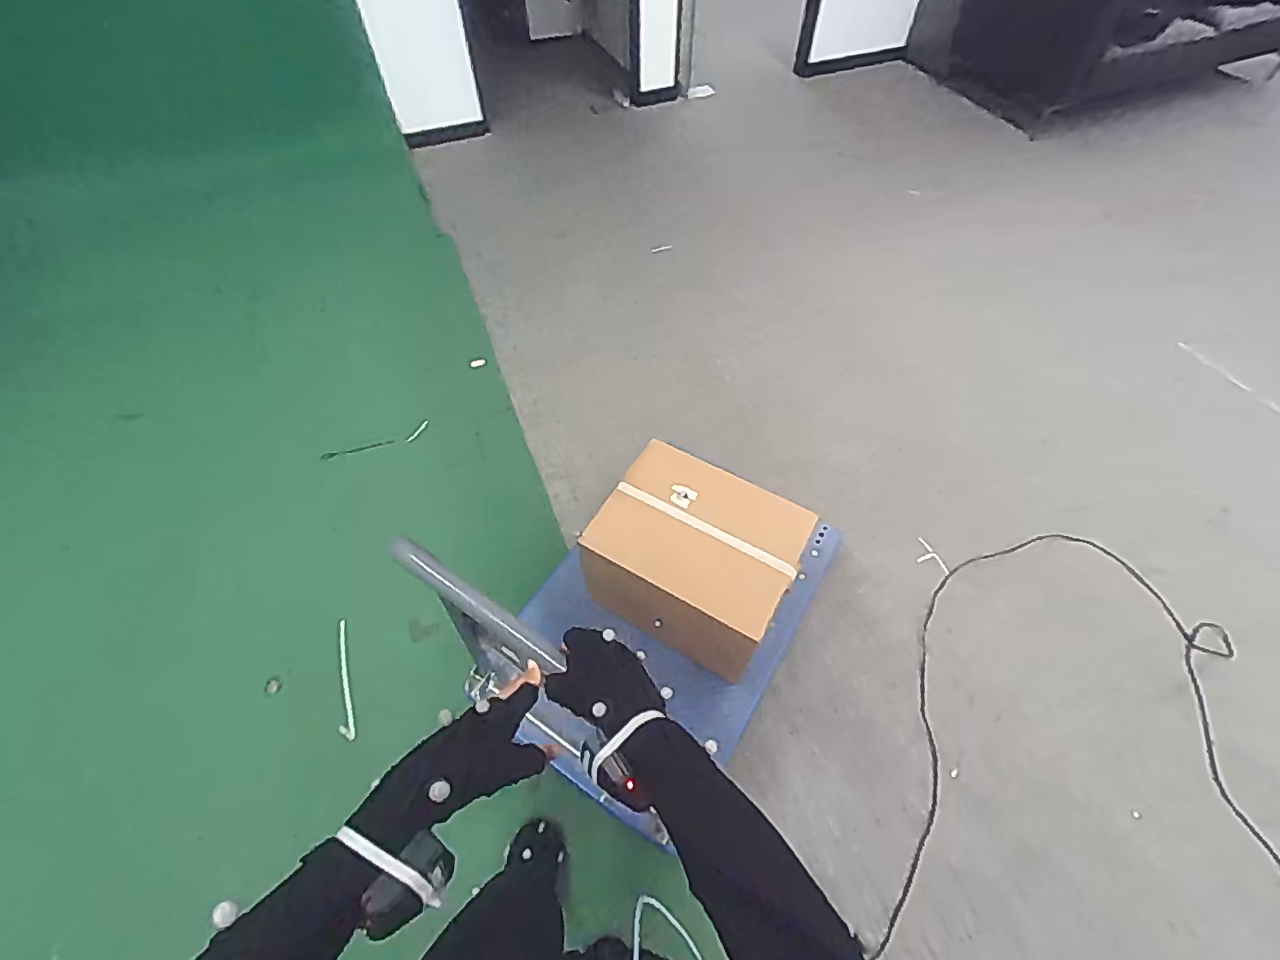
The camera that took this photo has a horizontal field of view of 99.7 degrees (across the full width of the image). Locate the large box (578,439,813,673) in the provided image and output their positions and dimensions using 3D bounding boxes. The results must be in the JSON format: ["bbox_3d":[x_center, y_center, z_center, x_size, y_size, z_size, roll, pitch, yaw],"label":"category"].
[{"bbox_3d":[0.122,0.177,1.238,0.408,0.320,0.320,26,59,17],"label":"large box"}]
